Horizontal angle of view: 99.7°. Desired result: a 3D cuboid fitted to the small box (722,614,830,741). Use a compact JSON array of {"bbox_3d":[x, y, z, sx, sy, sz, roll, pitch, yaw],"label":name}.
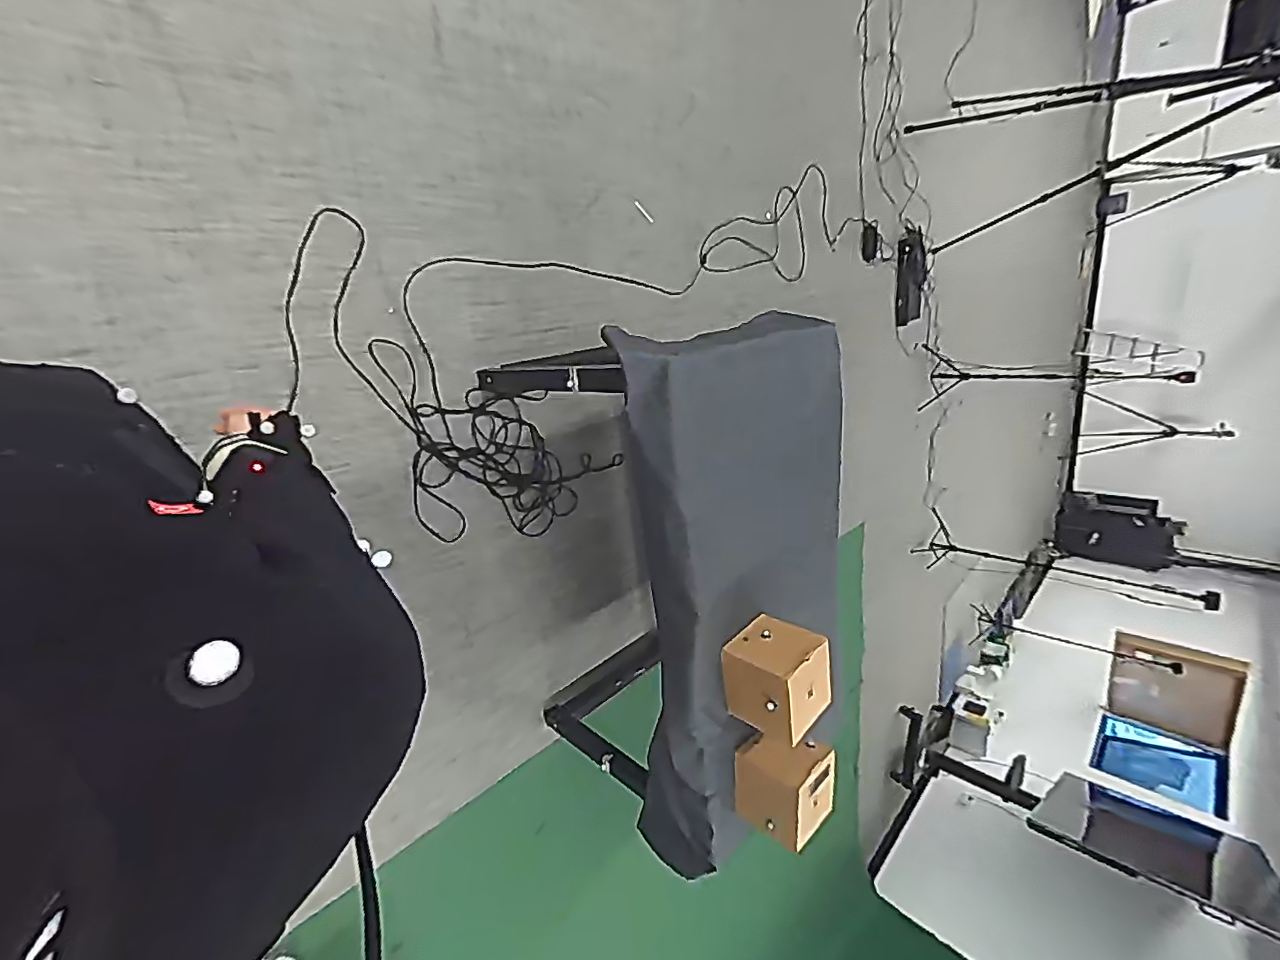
[{"bbox_3d":[0.300,0.427,1.197,0.168,0.176,0.179,-25,114,-39],"label":"small box"}]
